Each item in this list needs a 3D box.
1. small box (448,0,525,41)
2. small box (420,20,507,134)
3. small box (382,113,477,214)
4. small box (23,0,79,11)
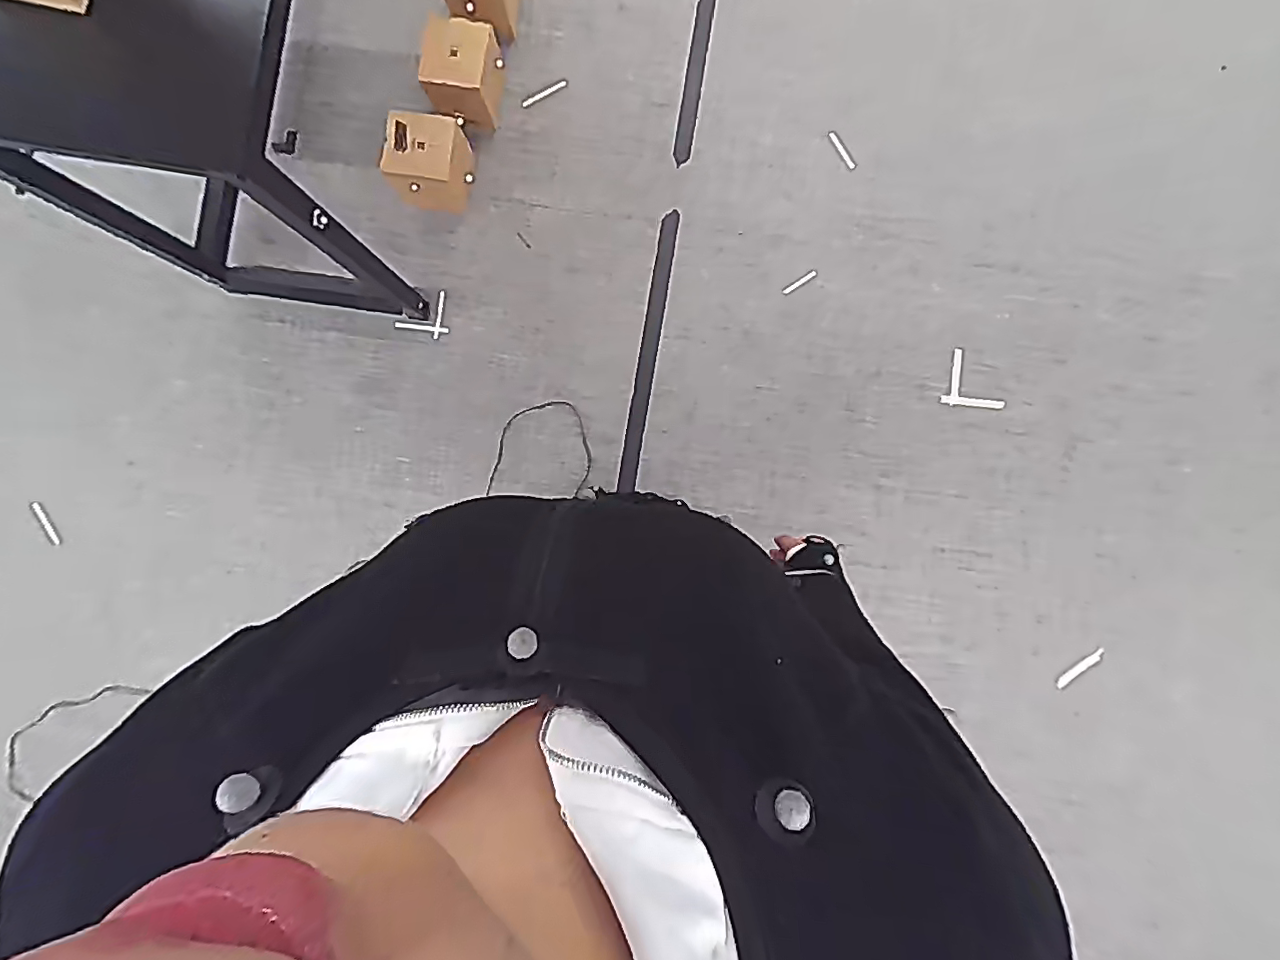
[{"bbox_3d":[-0.425,-1.345,1.472,0.179,0.176,0.168,8,89,1],"label":"small box"},{"bbox_3d":[-0.470,-1.086,1.467,0.168,0.176,0.179,8,89,2],"label":"small box"},{"bbox_3d":[-0.562,-0.845,1.459,0.179,0.176,0.168,8,89,0],"label":"small box"},{"bbox_3d":[-0.892,-0.794,0.733,0.179,0.176,0.168,12,88,1],"label":"small box"}]
